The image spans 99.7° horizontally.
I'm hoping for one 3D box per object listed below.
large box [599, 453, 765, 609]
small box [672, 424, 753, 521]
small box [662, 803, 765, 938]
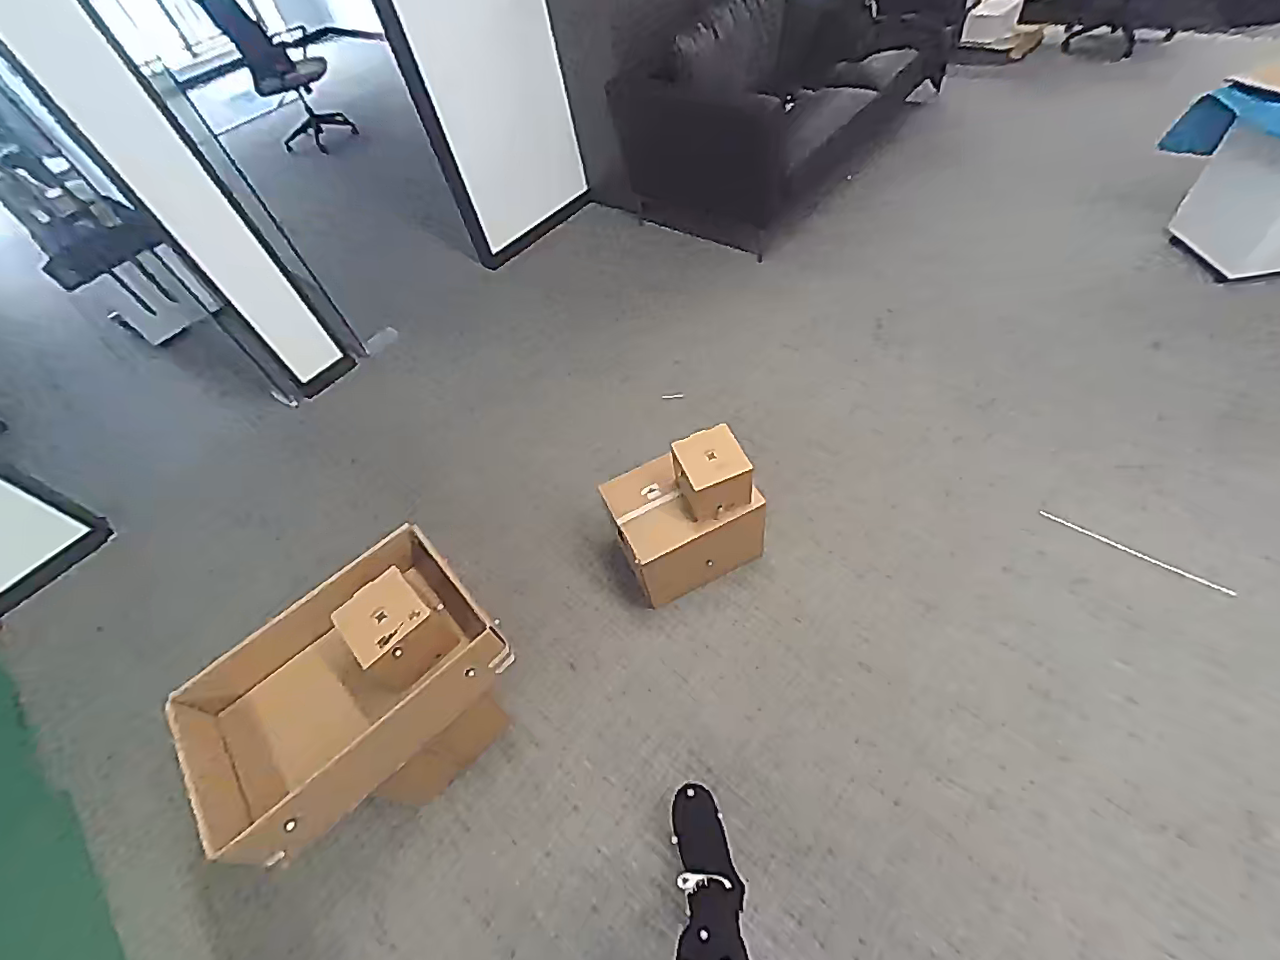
[{"bbox_3d":[0.136,0.135,1.697,0.408,0.320,0.320,-26,53,-8],"label":"large box"},{"bbox_3d":[0.197,-0.019,1.491,0.168,0.176,0.179,-21,55,-5],"label":"small box"},{"bbox_3d":[0.163,0.860,1.208,0.179,0.176,0.168,20,77,26],"label":"small box"}]
